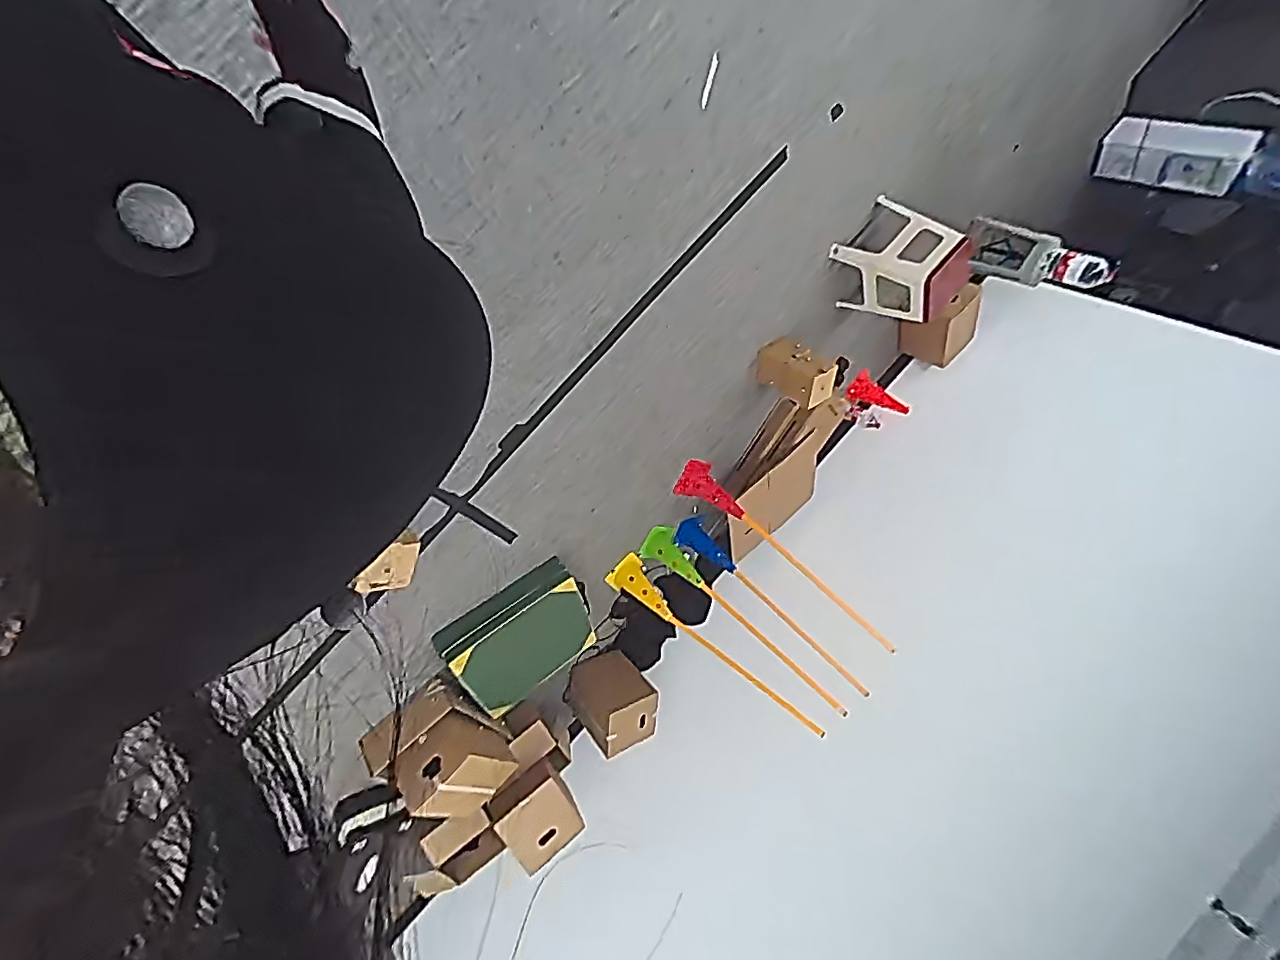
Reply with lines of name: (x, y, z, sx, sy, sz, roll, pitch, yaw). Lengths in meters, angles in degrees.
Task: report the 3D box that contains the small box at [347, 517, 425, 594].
small box: (-0.802, 0.227, 1.698, 0.168, 0.176, 0.179, -2, 124, -45)
